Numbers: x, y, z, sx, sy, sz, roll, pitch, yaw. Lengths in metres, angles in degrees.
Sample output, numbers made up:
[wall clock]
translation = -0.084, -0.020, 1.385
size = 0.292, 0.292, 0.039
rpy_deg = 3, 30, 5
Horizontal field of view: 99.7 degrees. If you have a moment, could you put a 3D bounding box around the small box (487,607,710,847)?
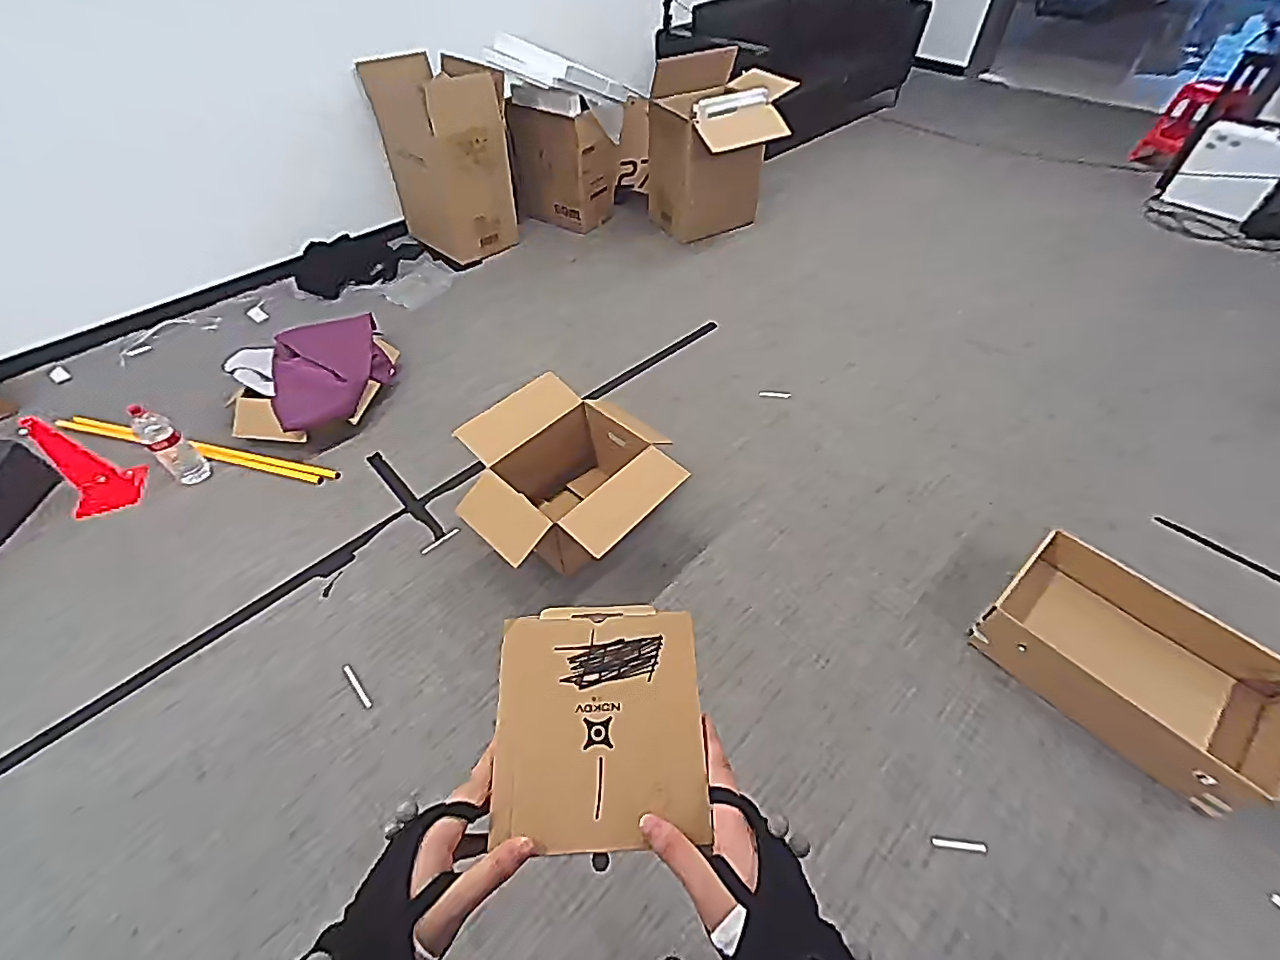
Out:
[small box]
translation = -0.034, 0.231, 0.503
size = 0.168, 0.176, 0.179
rpy_deg = -2, 59, -2
